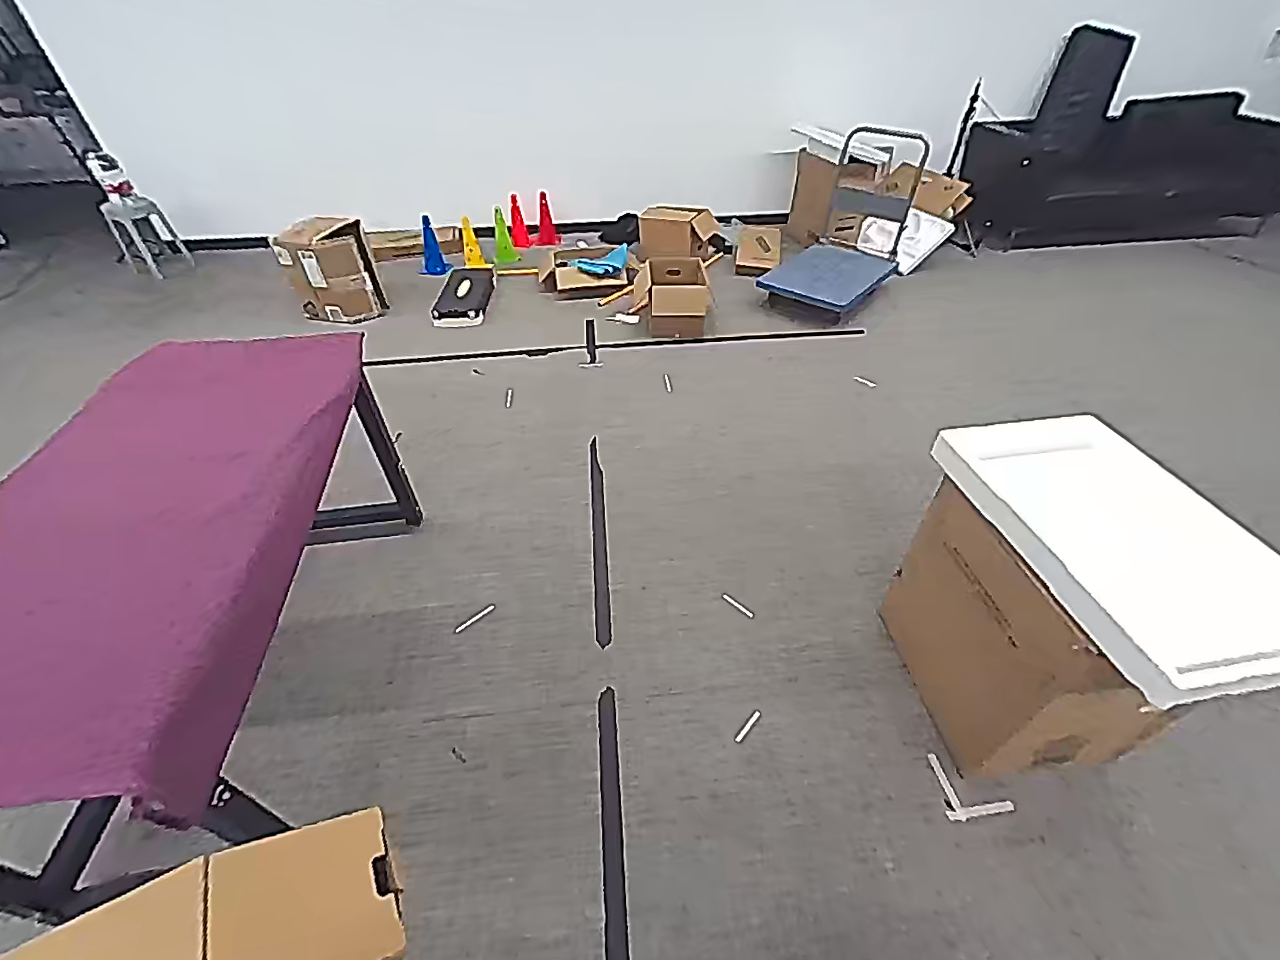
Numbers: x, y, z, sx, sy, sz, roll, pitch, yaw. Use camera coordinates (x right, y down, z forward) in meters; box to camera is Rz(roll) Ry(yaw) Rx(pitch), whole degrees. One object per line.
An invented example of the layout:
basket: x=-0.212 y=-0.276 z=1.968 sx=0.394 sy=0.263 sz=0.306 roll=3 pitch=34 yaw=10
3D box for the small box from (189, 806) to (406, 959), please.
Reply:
small box: x=-0.384 y=0.511 z=0.597 sx=0.179 sy=0.176 sz=0.168 roll=7 pitch=30 yaw=-41
